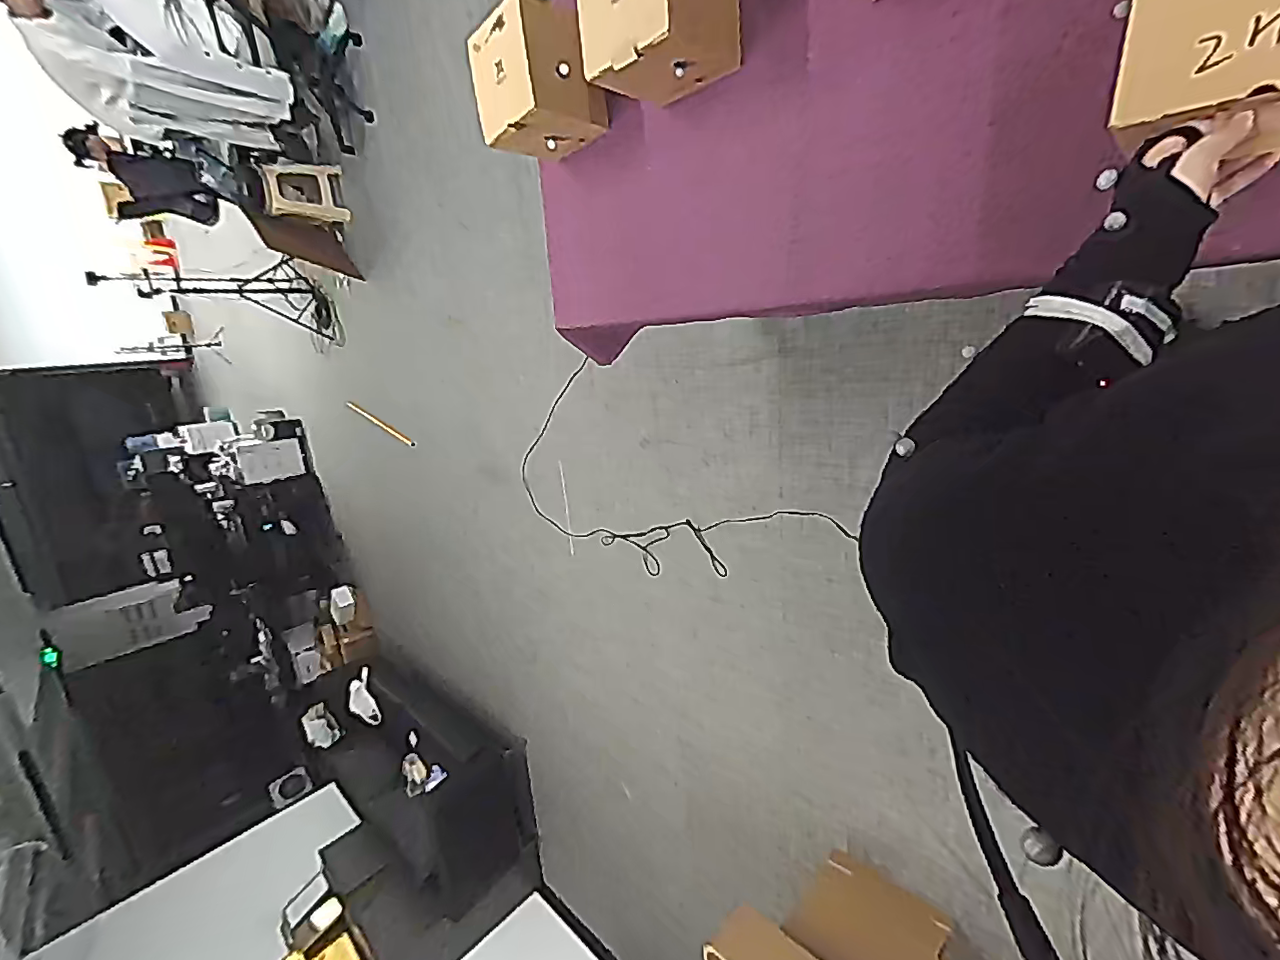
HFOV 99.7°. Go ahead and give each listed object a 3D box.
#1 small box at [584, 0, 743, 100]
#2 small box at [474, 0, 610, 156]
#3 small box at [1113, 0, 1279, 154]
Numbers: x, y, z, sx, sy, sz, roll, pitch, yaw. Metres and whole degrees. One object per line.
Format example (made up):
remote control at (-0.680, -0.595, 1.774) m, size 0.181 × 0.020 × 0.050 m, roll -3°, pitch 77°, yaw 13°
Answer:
small box at (0.036, -0.682, 0.782) m, size 0.168 × 0.176 × 0.179 m, roll 10°, pitch 111°, yaw 43°
small box at (-0.172, -0.715, 0.985) m, size 0.168 × 0.176 × 0.179 m, roll 3°, pitch 107°, yaw 45°
small box at (0.491, -0.375, 0.409) m, size 0.168 × 0.176 × 0.179 m, roll 15°, pitch 114°, yaw 44°
